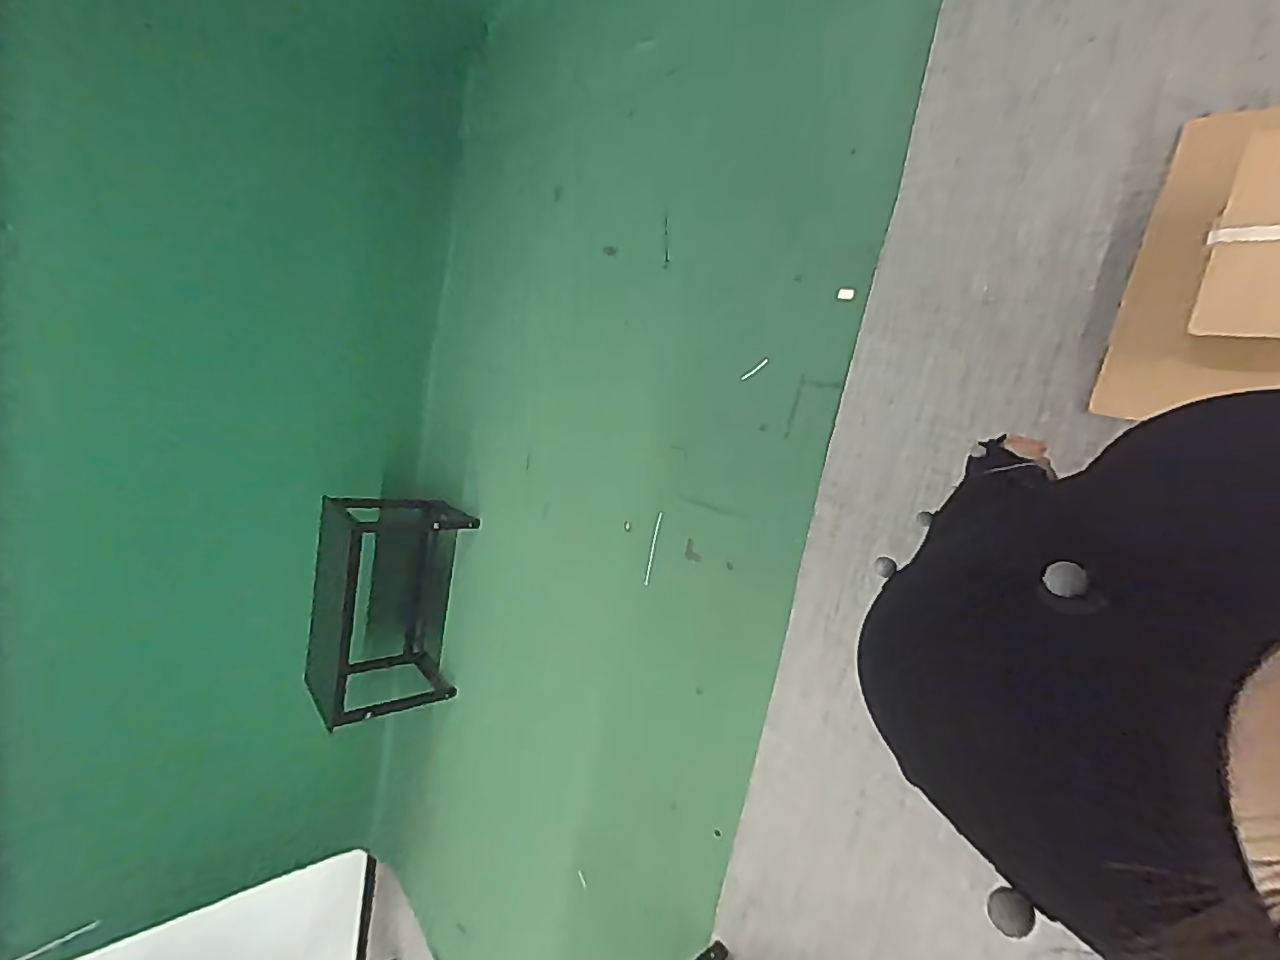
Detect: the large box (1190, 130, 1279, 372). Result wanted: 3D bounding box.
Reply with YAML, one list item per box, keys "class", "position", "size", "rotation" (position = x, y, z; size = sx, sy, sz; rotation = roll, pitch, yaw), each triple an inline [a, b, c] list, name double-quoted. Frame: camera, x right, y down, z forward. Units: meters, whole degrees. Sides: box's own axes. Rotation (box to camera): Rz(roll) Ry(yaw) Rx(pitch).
- class: "large box"
  position: [1.158, -0.338, 0.824]
  size: [0.408, 0.320, 0.320]
  rotation: [18, 102, 44]
